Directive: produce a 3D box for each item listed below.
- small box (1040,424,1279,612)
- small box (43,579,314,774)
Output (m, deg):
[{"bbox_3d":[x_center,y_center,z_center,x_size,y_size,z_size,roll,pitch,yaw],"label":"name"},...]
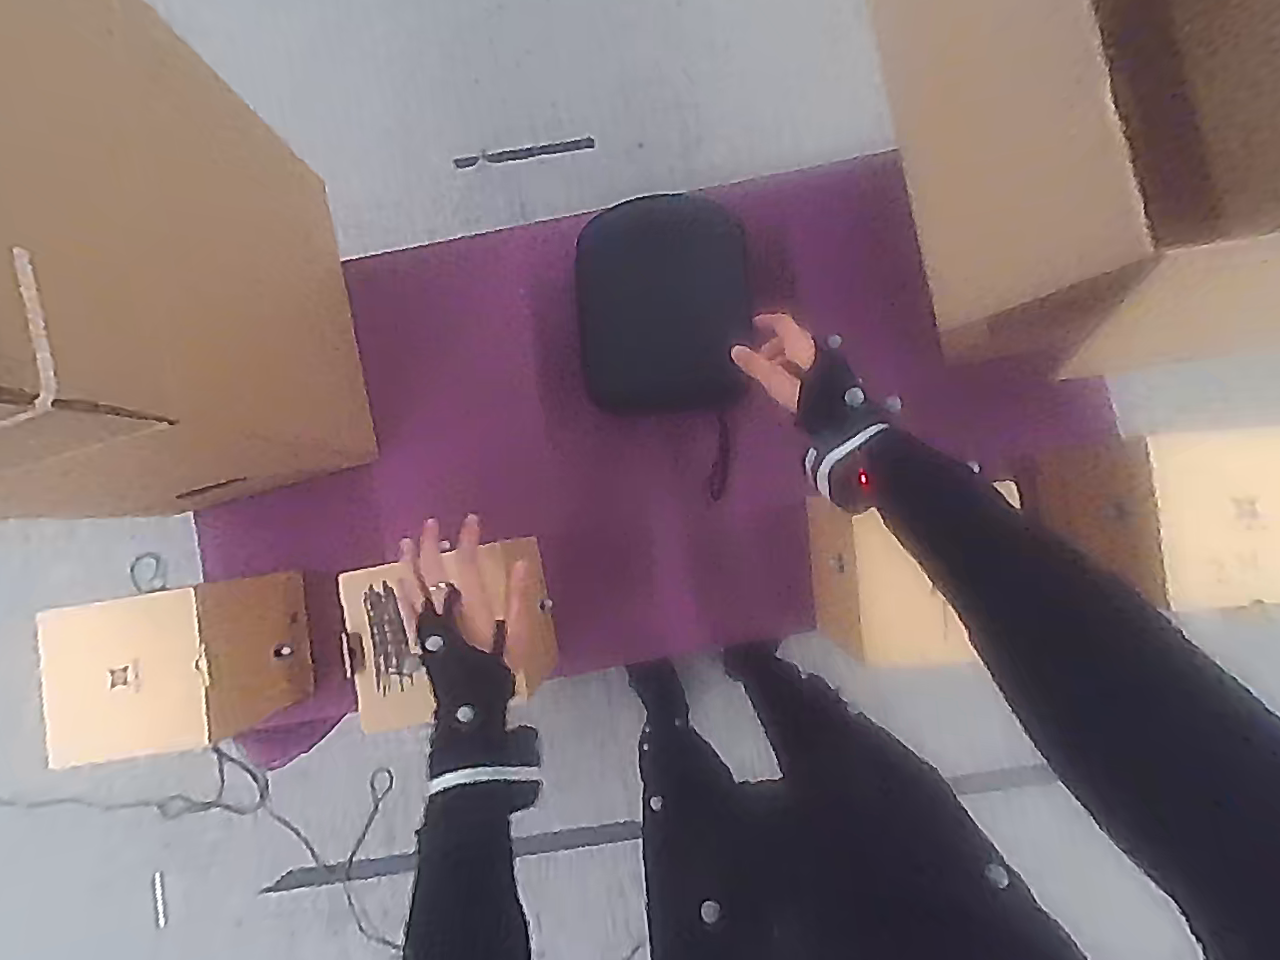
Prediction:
[{"bbox_3d":[0.583,0.043,0.598,0.168,0.176,0.179,-4,85,3],"label":"small box"},{"bbox_3d":[-0.529,0.217,0.641,0.179,0.176,0.168,-10,86,1],"label":"small box"}]
